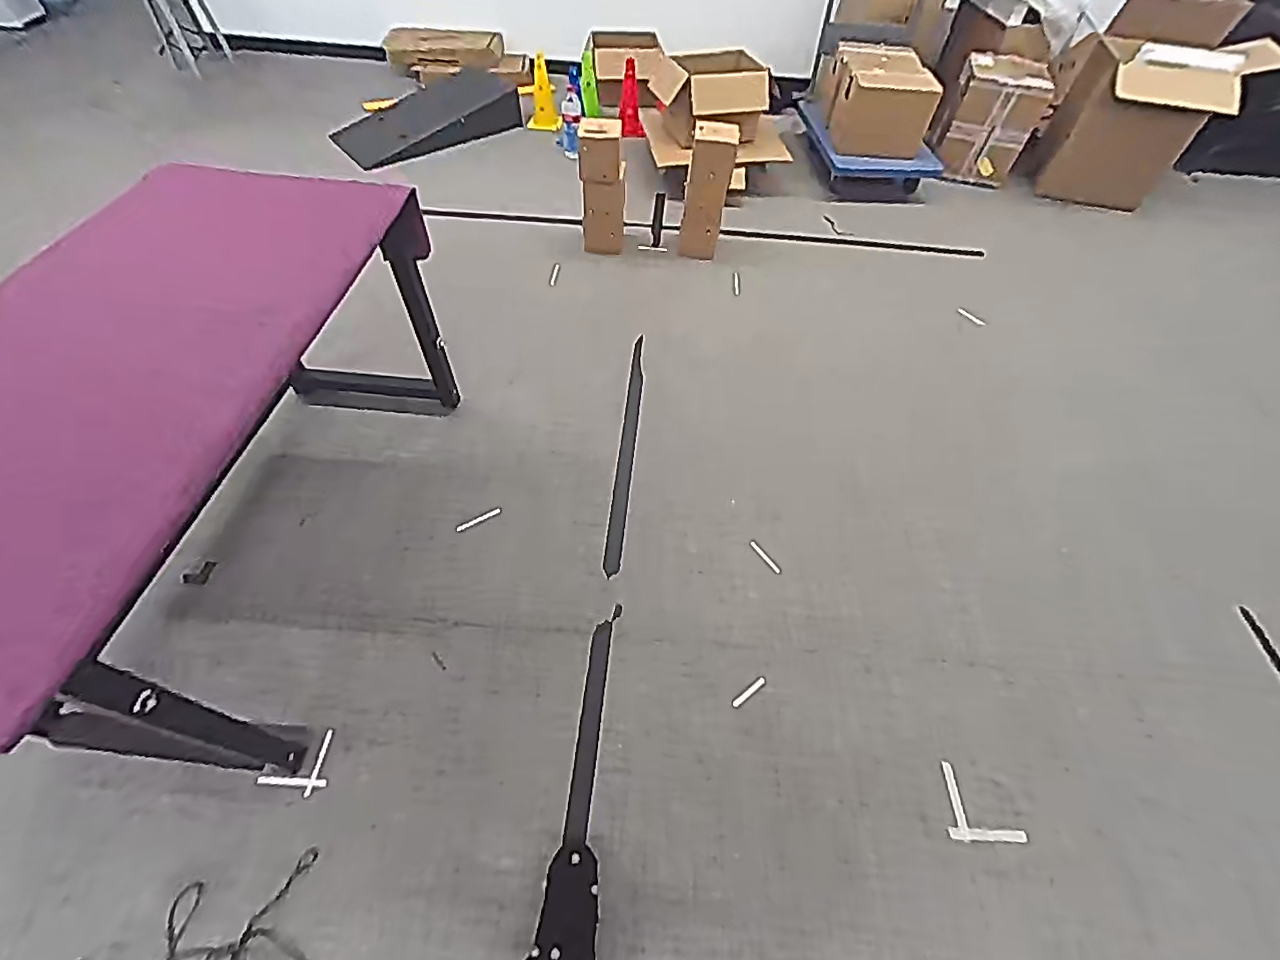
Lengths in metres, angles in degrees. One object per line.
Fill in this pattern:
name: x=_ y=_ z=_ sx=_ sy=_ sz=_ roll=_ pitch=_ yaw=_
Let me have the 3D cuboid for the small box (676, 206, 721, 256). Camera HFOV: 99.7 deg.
small box: x=0.267 y=-1.150 z=2.468 sx=0.179 sy=0.176 sz=0.168 roll=9 pitch=54 yaw=2

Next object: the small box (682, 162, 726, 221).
small box: x=0.276 y=-1.255 z=2.344 sx=0.168 sy=0.176 sz=0.179 roll=5 pitch=55 yaw=-1

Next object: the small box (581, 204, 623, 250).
small box: x=-0.170 y=-1.163 z=2.454 sx=0.179 sy=0.176 sz=0.168 roll=2 pitch=53 yaw=0

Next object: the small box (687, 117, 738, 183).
small box: x=0.295 y=-1.342 z=2.206 sx=0.179 sy=0.176 sz=0.168 roll=8 pitch=55 yaw=0

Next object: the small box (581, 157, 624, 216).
small box: x=-0.157 y=-1.258 z=2.320 sx=0.168 sy=0.176 sz=0.179 roll=5 pitch=53 yaw=1
